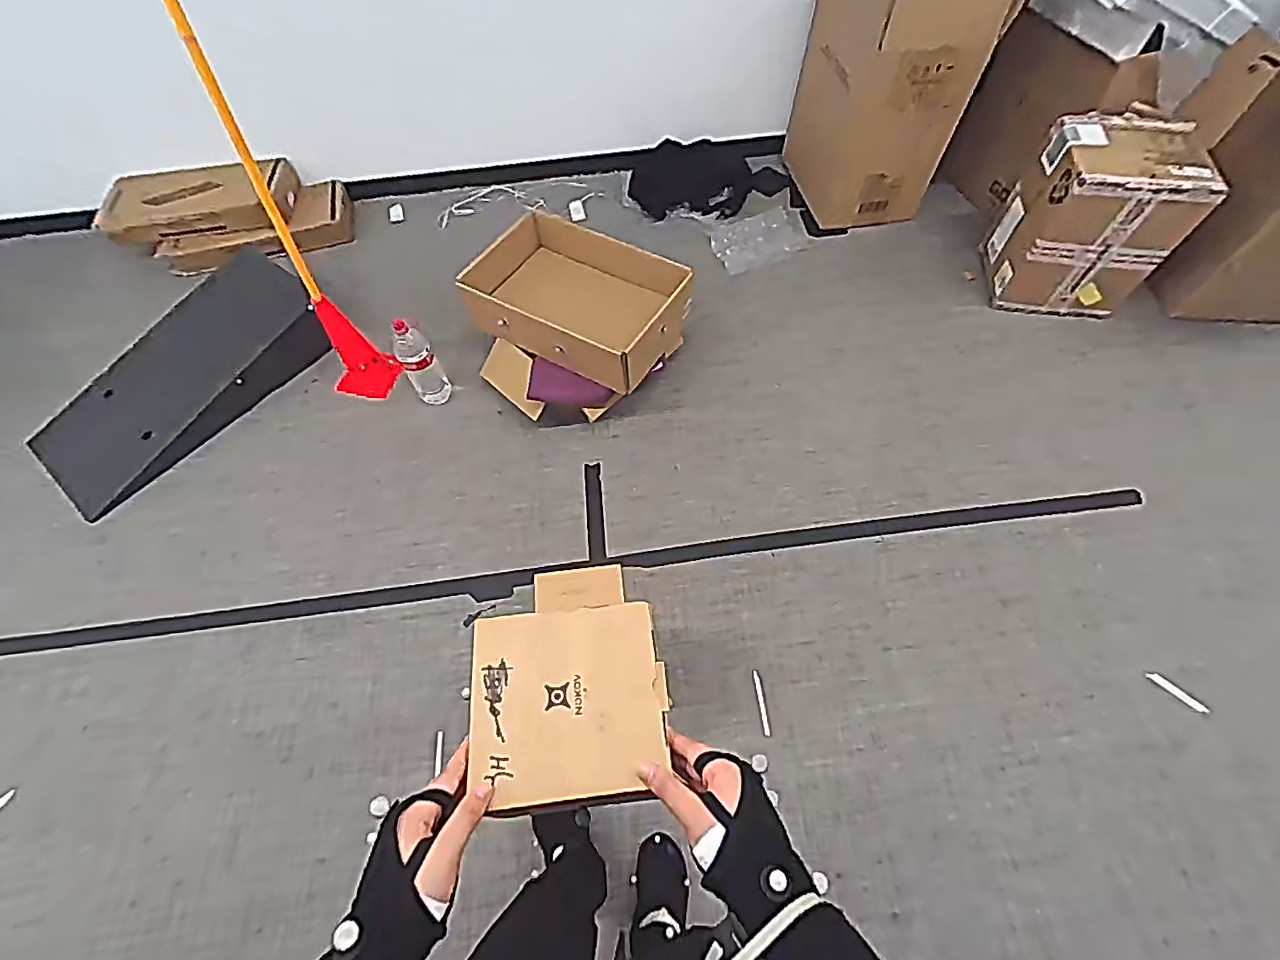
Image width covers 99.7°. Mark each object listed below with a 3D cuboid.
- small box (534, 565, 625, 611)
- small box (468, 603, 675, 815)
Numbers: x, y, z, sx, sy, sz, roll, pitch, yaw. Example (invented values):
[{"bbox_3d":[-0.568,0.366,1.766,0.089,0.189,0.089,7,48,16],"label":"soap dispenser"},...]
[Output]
[{"bbox_3d":[-0.108,0.284,1.047,0.168,0.176,0.179,-6,60,-3],"label":"small box"},{"bbox_3d":[-0.068,0.241,0.561,0.179,0.176,0.168,-4,55,-5],"label":"small box"}]
